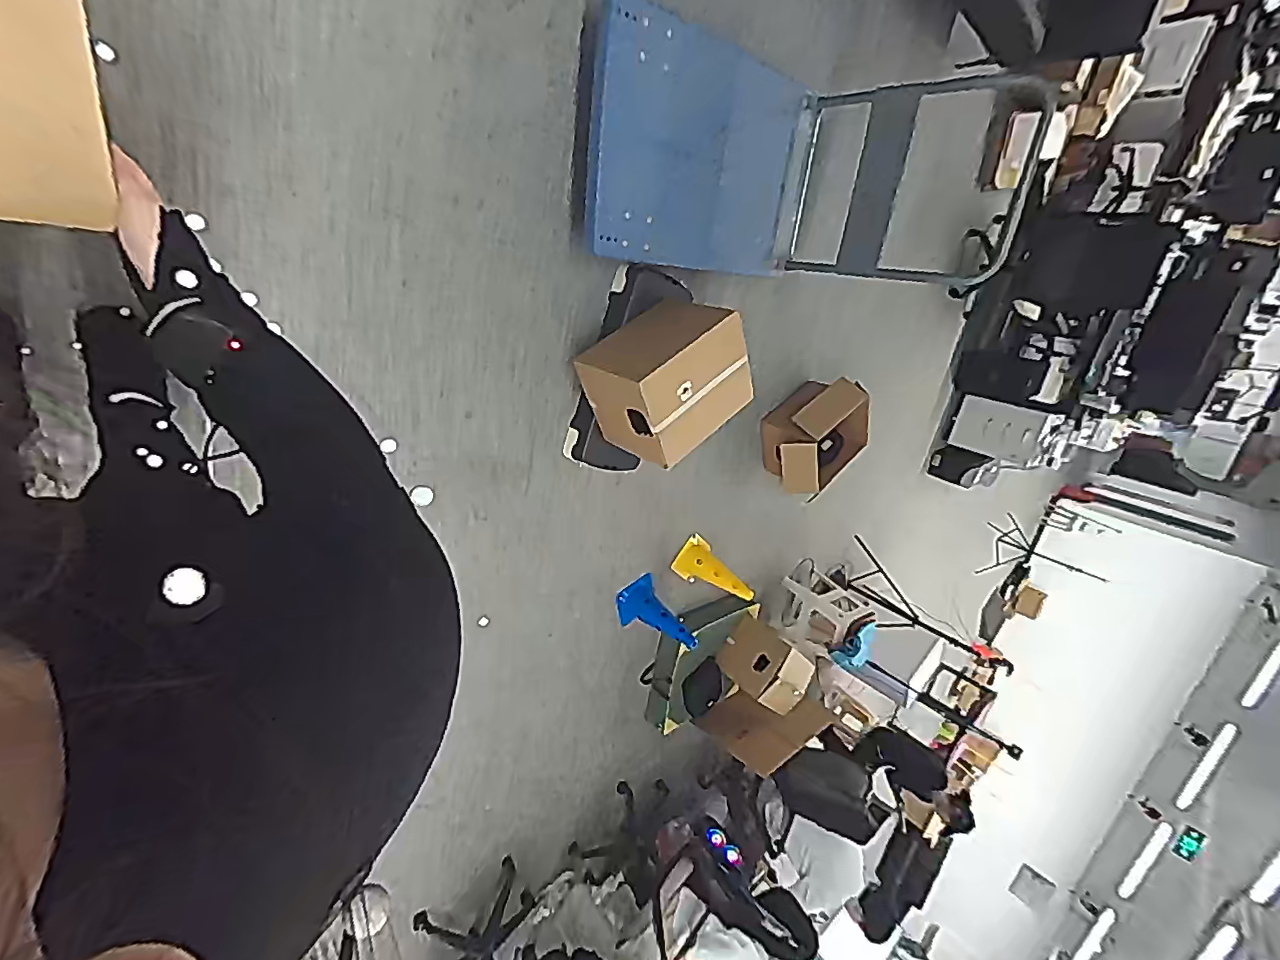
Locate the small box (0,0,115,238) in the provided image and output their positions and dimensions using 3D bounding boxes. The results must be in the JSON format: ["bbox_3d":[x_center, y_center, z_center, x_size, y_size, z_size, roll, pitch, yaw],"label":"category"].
[{"bbox_3d":[-0.532,-0.298,0.418,0.168,0.176,0.179,-11,119,-42],"label":"small box"}]
